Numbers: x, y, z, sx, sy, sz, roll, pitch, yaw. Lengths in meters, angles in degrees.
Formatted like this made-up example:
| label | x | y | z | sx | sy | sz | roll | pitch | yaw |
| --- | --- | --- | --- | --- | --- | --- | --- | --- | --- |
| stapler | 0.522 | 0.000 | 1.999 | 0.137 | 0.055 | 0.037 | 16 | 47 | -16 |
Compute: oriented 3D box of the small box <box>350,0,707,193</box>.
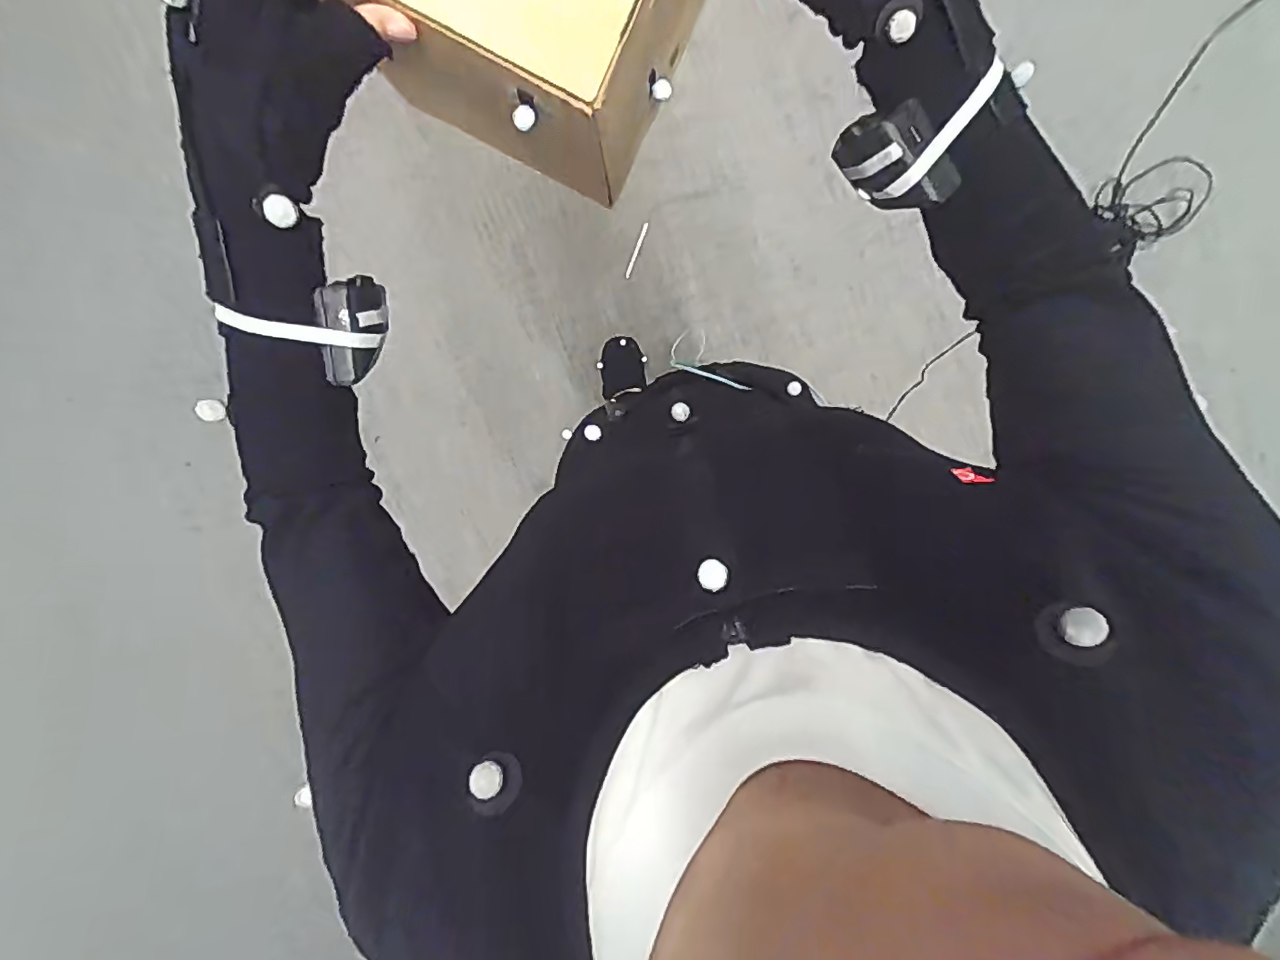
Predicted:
| label | x | y | z | sx | sy | sz | roll | pitch | yaw |
| --- | --- | --- | --- | --- | --- | --- | --- | --- | --- |
| small box | -0.060 | -0.310 | 0.329 | 0.179 | 0.176 | 0.168 | 26 | 100 | -6 |
